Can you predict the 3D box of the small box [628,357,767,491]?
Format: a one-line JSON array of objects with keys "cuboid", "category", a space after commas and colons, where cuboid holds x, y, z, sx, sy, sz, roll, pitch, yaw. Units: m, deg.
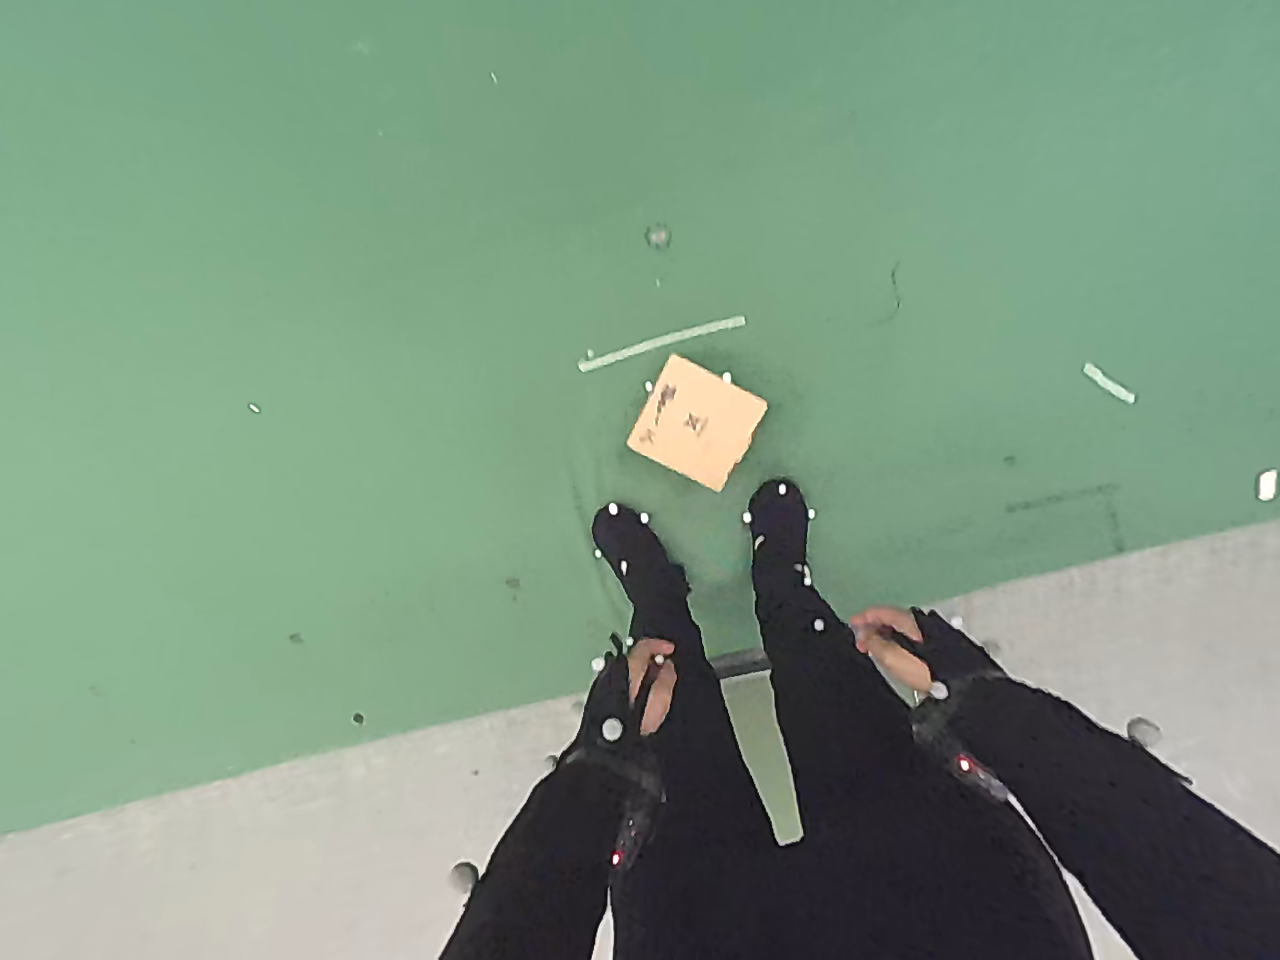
[{"cuboid": [0.094, -0.107, 0.951, 0.179, 0.176, 0.168, 27, 102, -5], "category": "small box"}]
